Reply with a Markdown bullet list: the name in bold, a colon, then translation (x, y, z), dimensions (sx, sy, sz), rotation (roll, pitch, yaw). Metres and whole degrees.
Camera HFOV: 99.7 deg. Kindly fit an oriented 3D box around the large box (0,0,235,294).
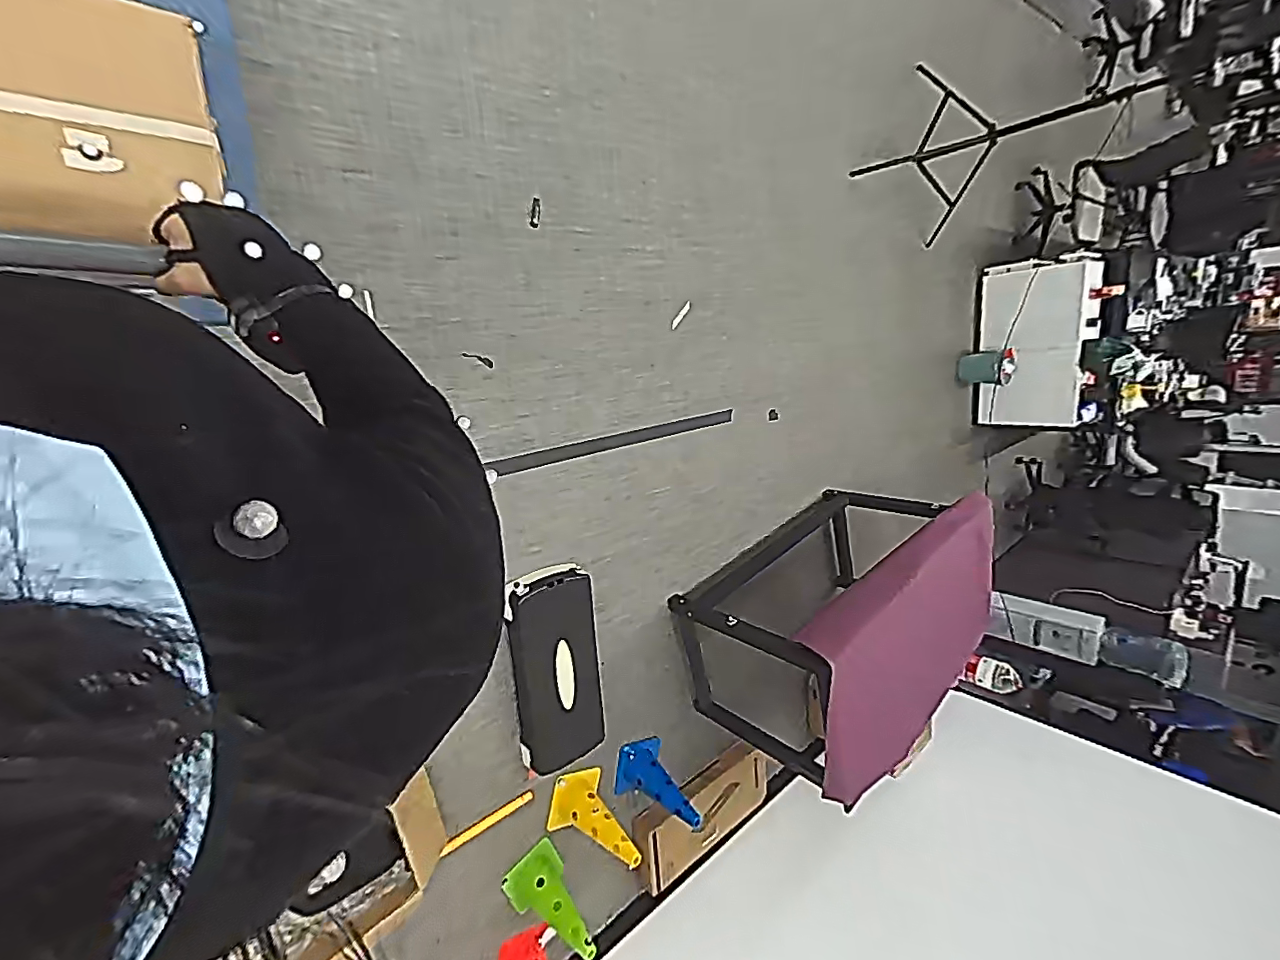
- **large box**: translation (-0.864, -0.455, 0.772), dimensions (0.408, 0.320, 0.320), rotation (-12, 104, -39)
